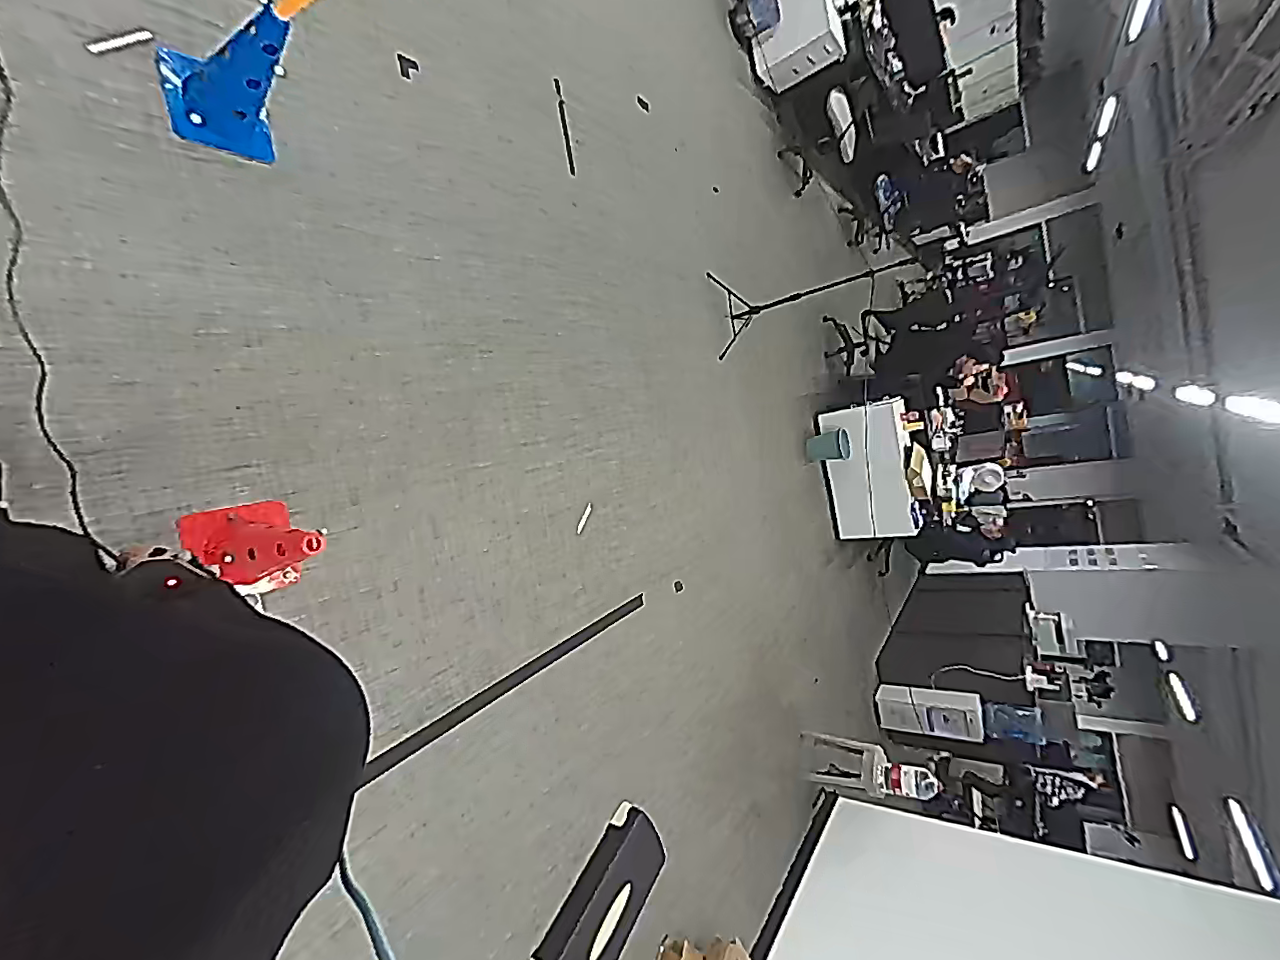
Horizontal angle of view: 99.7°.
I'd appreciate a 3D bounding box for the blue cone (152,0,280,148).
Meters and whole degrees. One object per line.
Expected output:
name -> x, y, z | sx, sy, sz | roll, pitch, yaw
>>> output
blue cone -> -0.849, -0.892, 1.139 | 0.193, 0.380, 0.192 | -12, 92, -54
